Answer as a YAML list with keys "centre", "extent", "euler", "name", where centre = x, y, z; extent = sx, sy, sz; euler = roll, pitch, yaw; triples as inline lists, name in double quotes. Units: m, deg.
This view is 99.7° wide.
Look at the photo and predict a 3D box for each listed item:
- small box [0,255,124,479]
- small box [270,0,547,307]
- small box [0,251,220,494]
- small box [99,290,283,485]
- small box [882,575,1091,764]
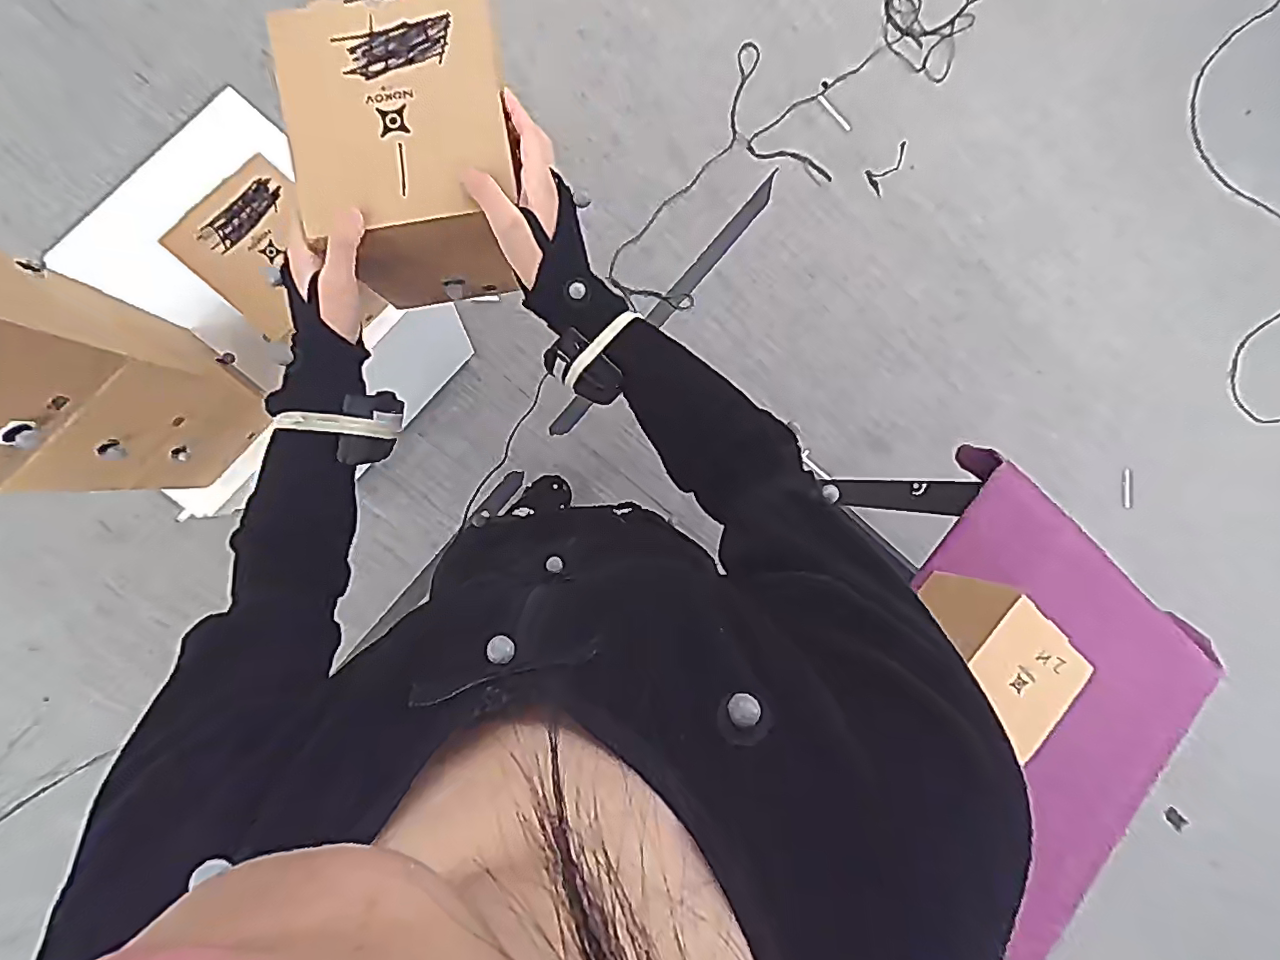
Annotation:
- centre: [-0.563, -0.106, 0.393]
  extent: [0.179, 0.176, 0.168]
  euler: [40, 84, -10]
  name: "small box"
- centre: [-0.186, -0.278, 0.486]
  extent: [0.168, 0.176, 0.179]
  euler: [-10, 90, -1]
  name: "small box"
- centre: [-0.595, -0.105, 0.552]
  extent: [0.179, 0.176, 0.168]
  euler: [40, 83, -9]
  name: "small box"
- centre: [-0.629, -0.106, 0.711]
  extent: [0.179, 0.176, 0.168]
  euler: [41, 83, -8]
  name: "small box"
- centre: [0.497, 0.267, 0.806]
  extent: [0.168, 0.176, 0.179]
  euler: [44, 82, -9]
  name: "small box"
